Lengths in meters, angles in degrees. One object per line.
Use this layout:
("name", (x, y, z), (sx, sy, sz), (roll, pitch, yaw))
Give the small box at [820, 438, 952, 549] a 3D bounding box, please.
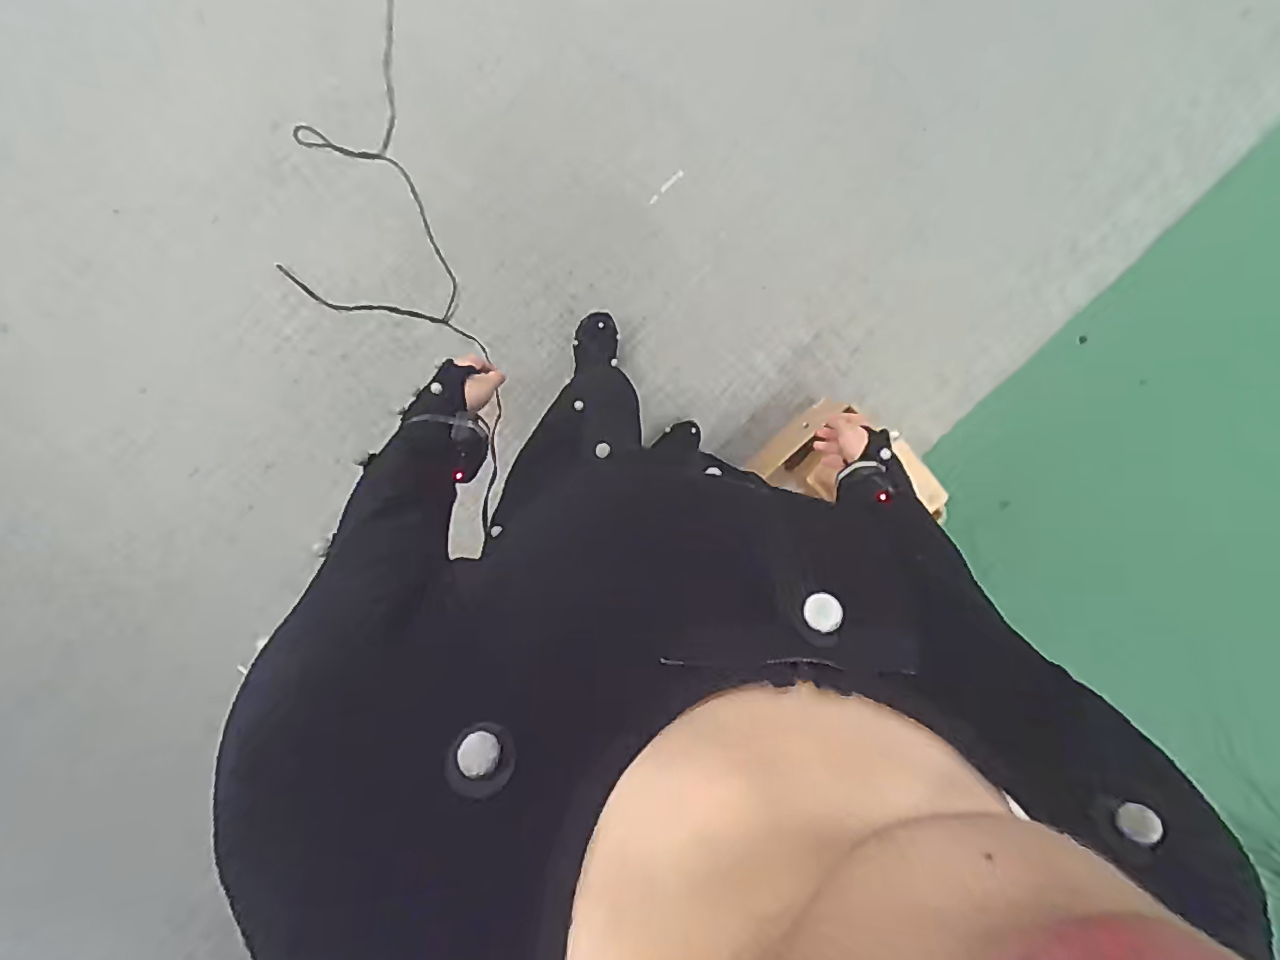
("small box", (0.531, 0.022, 1.197), (0.168, 0.176, 0.179), (-41, 97, 5))
